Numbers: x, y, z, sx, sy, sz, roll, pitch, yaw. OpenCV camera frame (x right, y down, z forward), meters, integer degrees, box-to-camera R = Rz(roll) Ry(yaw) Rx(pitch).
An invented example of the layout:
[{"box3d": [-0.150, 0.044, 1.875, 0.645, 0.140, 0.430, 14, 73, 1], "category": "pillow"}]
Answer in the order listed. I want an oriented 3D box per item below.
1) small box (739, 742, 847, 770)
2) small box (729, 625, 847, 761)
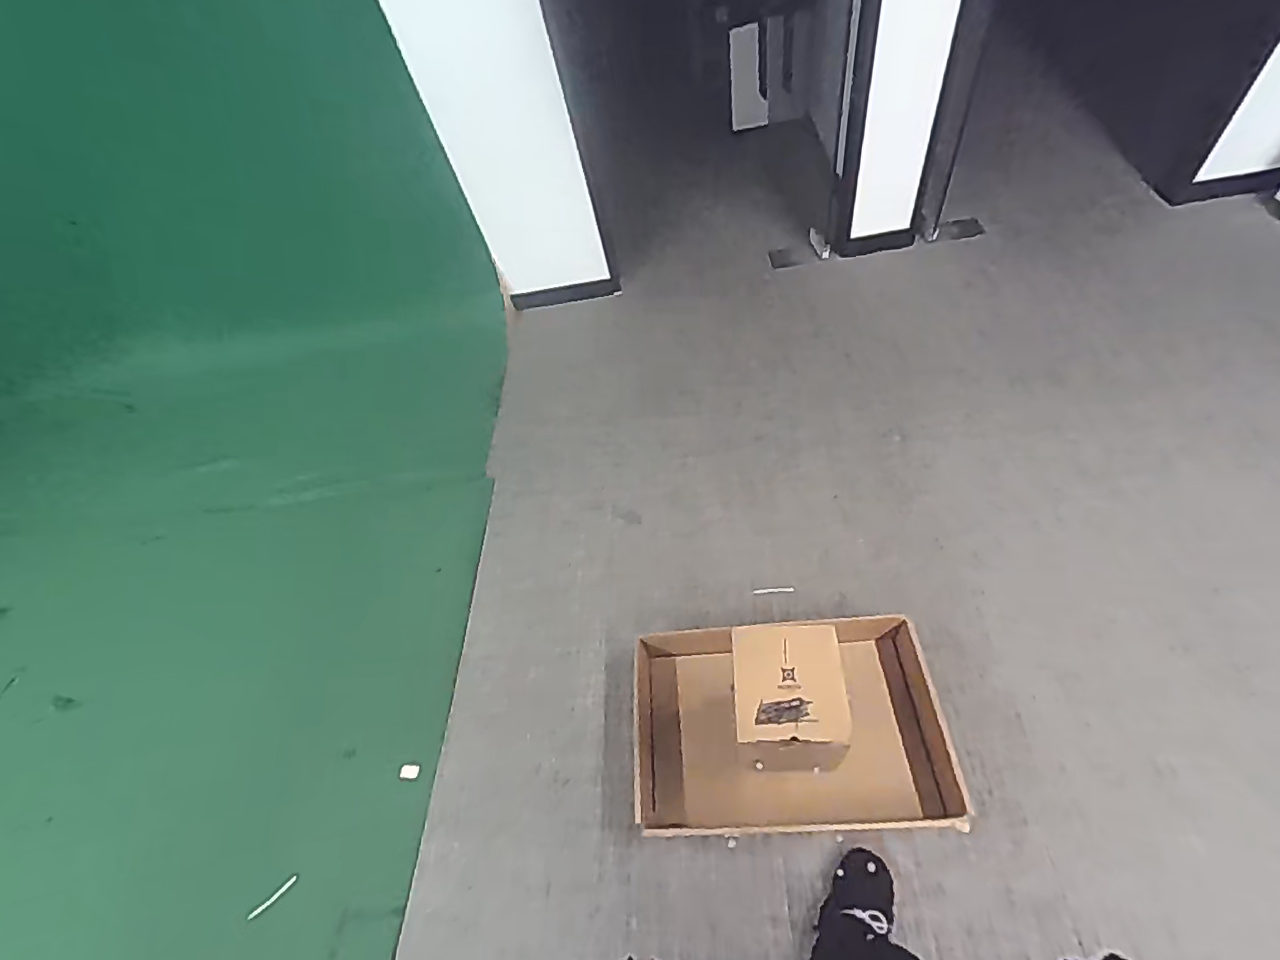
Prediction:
[{"box3d": [0.268, 0.438, 1.011, 0.179, 0.176, 0.168, -7, 53, 7], "category": "small box"}, {"box3d": [0.237, 0.354, 0.893, 0.168, 0.176, 0.179, -3, 52, 10], "category": "small box"}]
